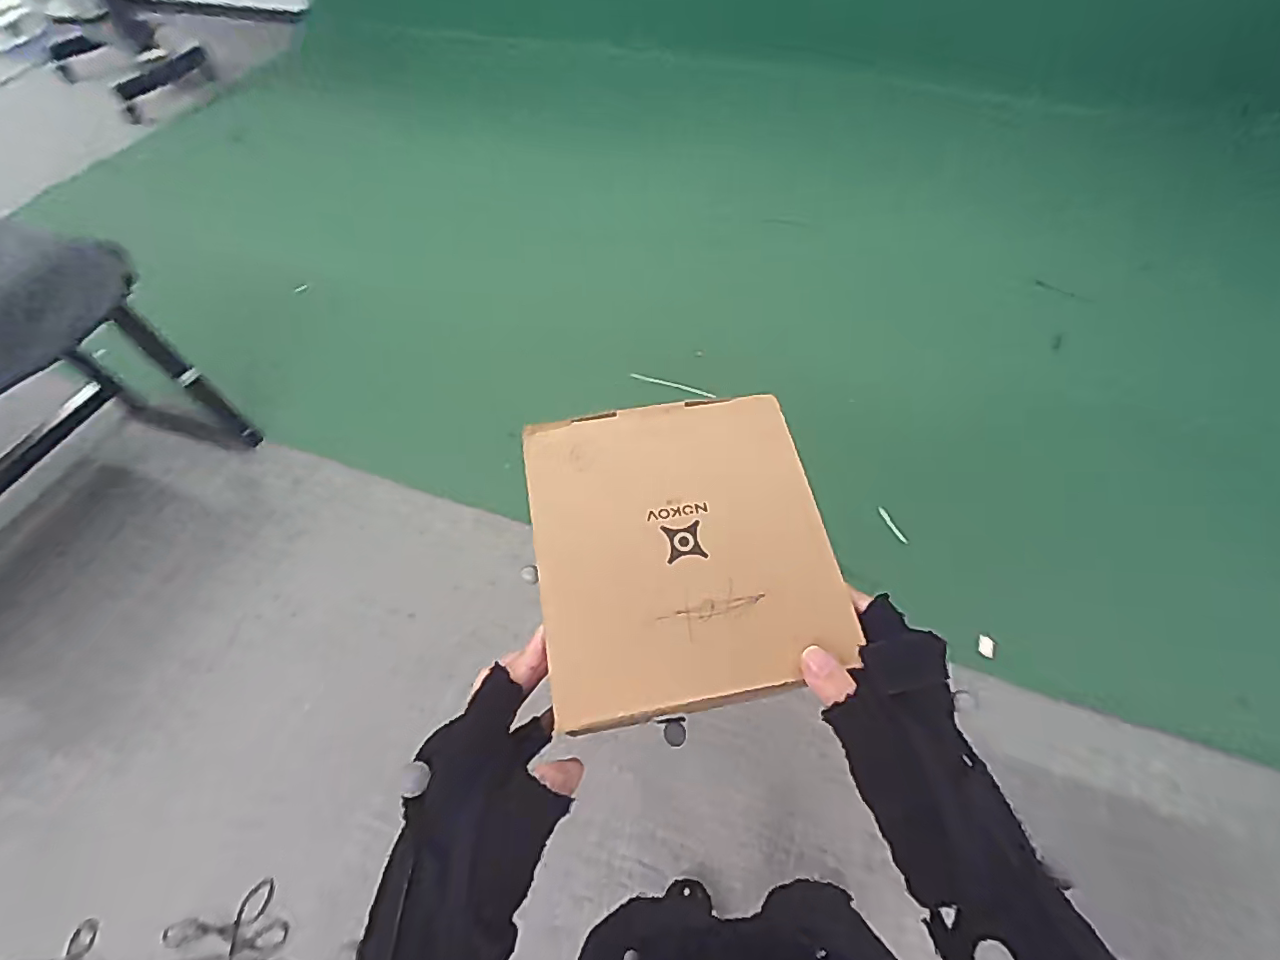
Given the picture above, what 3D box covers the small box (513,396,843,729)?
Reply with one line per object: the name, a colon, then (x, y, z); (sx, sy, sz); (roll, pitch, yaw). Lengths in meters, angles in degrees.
small box: (0.010, 0.067, 0.387); (0.168, 0.176, 0.179); (-10, 64, -7)
